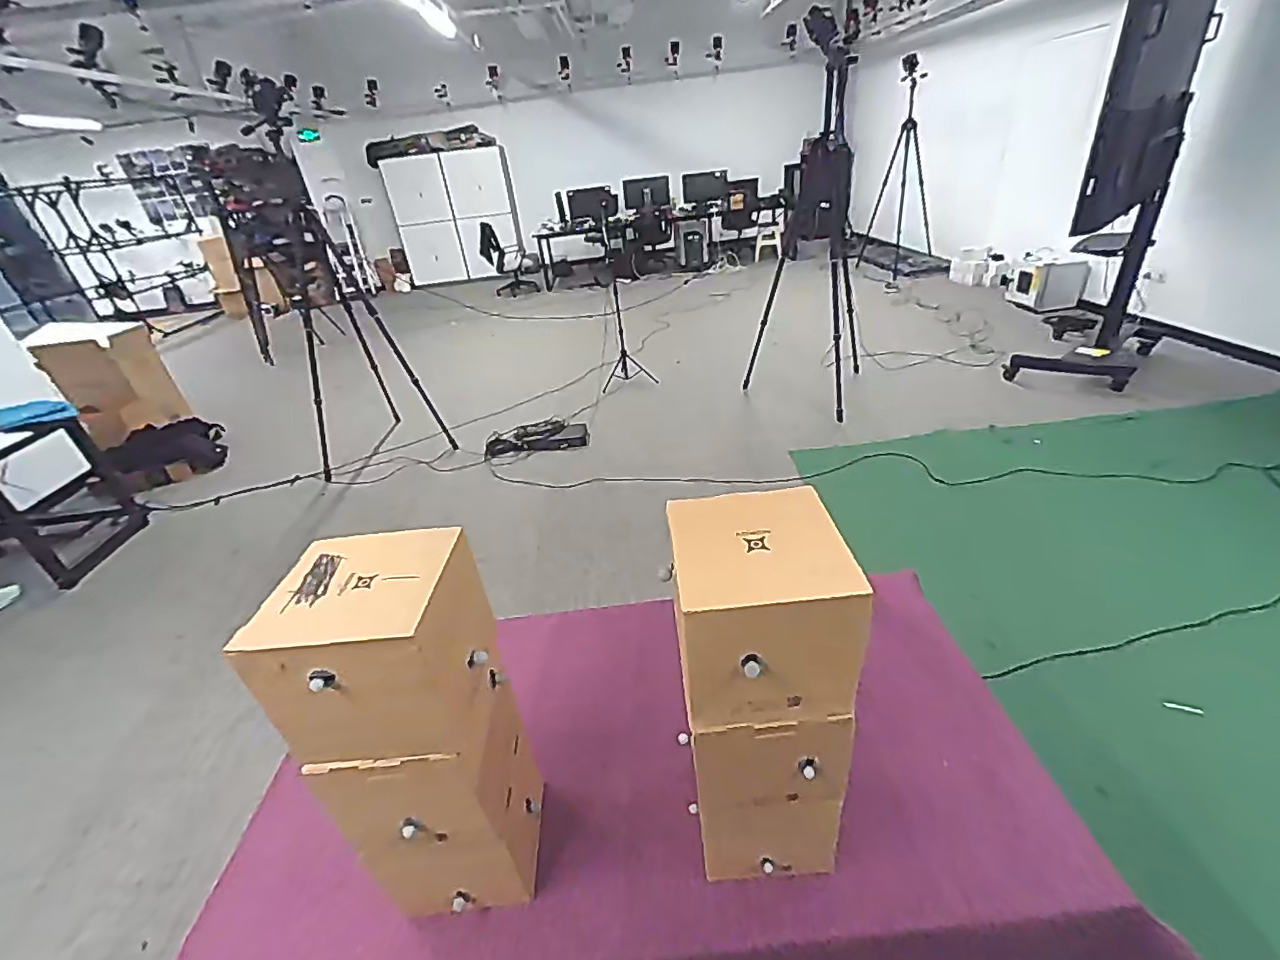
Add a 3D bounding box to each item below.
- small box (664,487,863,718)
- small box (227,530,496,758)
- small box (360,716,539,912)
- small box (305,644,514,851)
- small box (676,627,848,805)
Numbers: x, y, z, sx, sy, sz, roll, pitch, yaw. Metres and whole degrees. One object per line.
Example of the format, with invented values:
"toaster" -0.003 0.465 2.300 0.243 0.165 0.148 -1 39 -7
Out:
"small box" 0.119 0.131 0.575 0.168 0.176 0.179 -6 31 1
"small box" -0.274 0.174 0.581 0.179 0.176 0.168 -5 31 2
"small box" -0.243 0.458 0.746 0.179 0.176 0.168 -7 31 -1
"small box" -0.261 0.315 0.665 0.168 0.176 0.179 -7 31 1
"small box" 0.138 0.269 0.659 0.168 0.176 0.179 -6 31 1
